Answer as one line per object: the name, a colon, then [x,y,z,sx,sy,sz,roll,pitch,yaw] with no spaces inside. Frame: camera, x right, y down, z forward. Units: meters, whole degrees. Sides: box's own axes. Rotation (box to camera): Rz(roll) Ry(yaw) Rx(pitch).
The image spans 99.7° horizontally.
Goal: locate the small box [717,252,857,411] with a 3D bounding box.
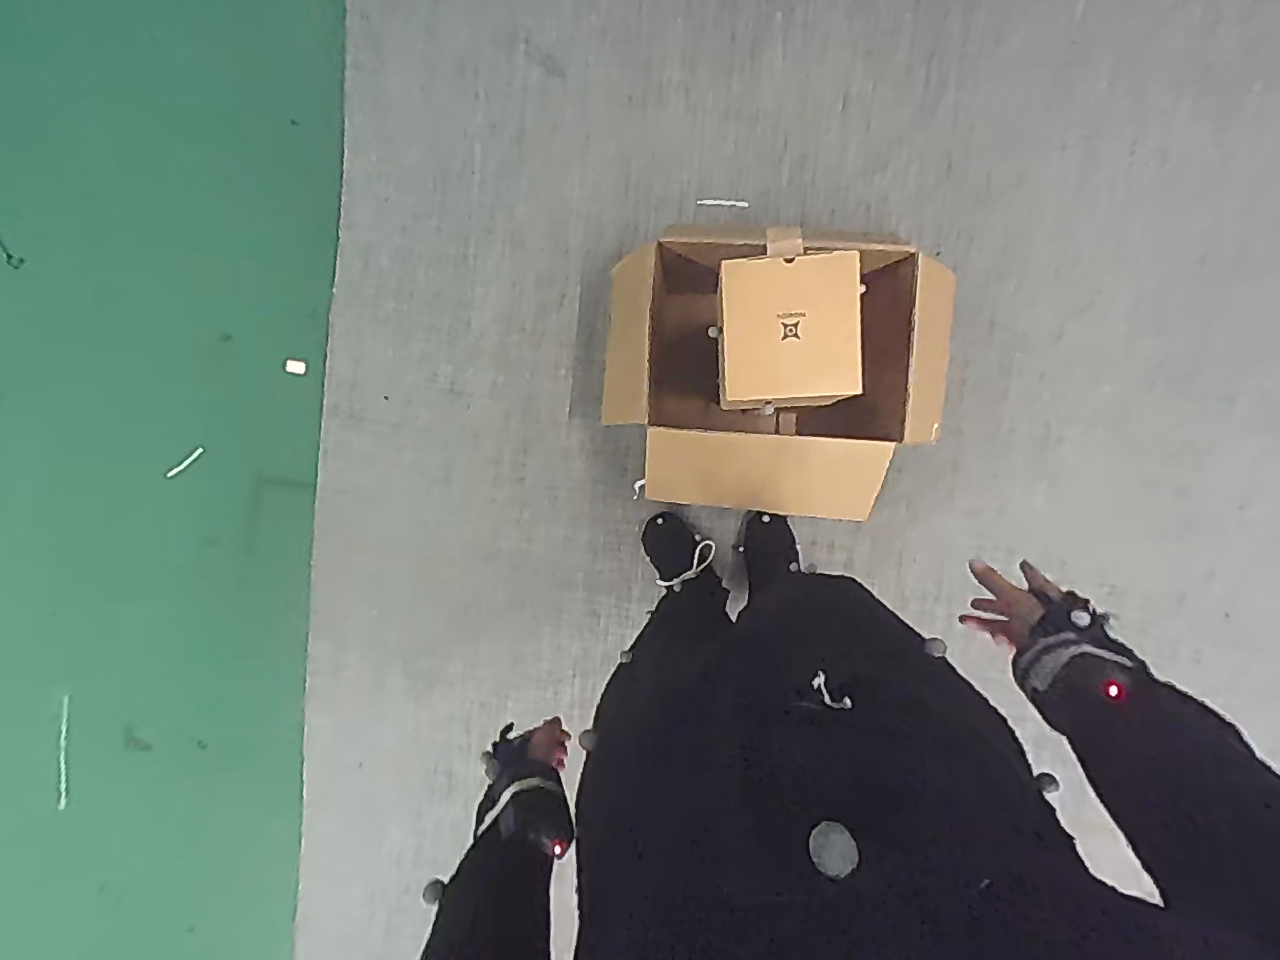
small box: [0.191,-0.188,0.739,0.168,0.176,0.179,-2,92,7]
